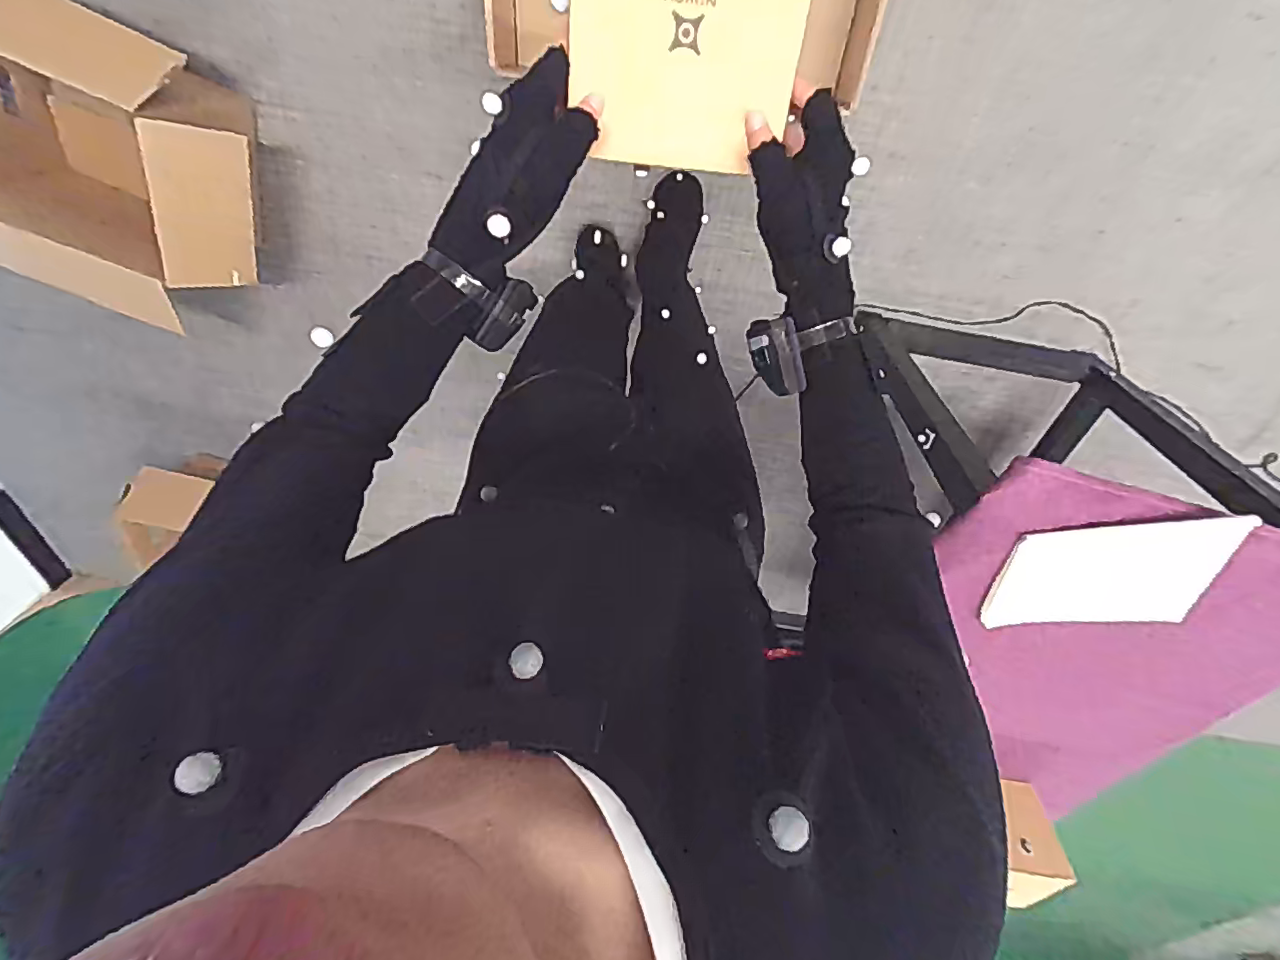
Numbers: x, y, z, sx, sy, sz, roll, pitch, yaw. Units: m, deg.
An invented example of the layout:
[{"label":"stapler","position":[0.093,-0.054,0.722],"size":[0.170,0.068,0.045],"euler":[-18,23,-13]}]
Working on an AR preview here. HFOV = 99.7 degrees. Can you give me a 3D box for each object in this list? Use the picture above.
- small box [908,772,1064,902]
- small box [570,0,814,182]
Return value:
[{"label":"small box","position":[0.676,0.710,1.081],"size":[0.179,0.176,0.168],"euler":[11,128,-2]},{"label":"small box","position":[0.036,-0.360,0.442],"size":[0.168,0.176,0.179],"euler":[4,124,-4]}]
